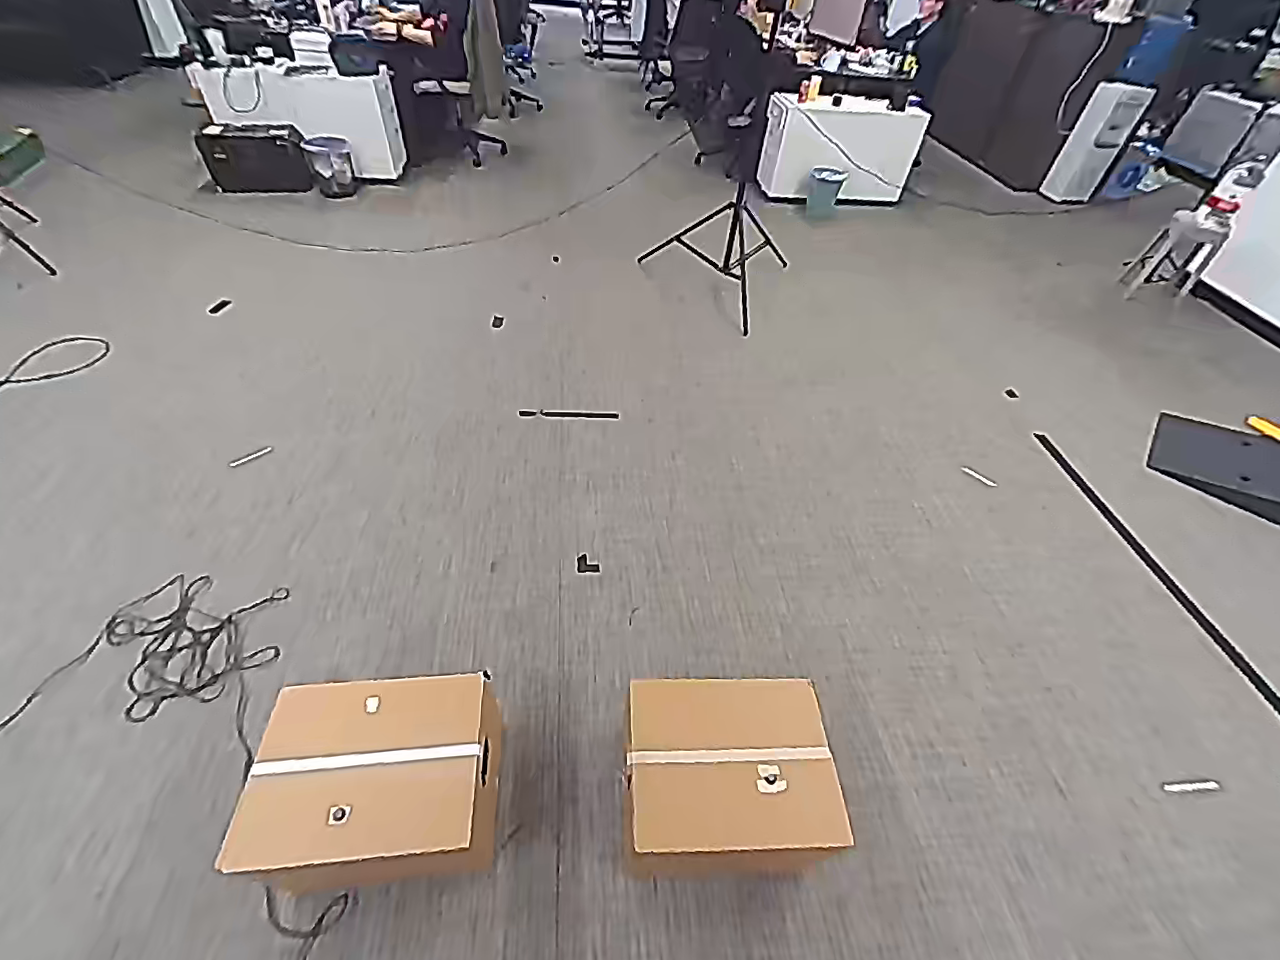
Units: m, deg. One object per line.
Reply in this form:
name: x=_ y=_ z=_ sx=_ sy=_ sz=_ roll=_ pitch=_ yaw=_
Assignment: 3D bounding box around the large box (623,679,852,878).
large box: x=0.175 y=0.651 z=1.185 sx=0.408 sy=0.320 sz=0.320 roll=2 pitch=47 yaw=-5
